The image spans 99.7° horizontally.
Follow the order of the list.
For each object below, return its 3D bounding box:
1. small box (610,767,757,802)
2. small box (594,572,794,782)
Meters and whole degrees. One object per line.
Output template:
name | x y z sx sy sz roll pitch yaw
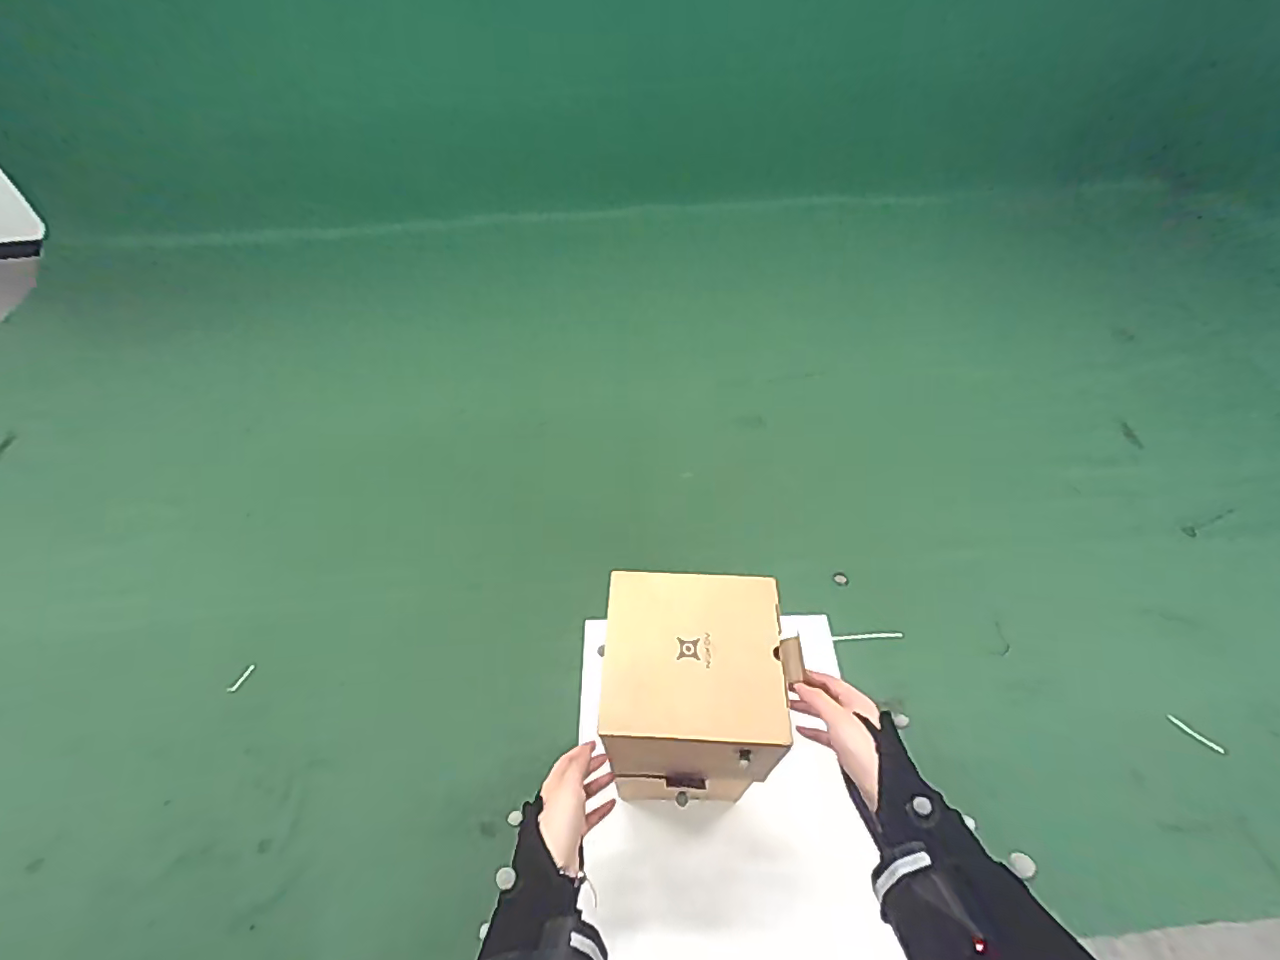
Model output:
small box | 0.052 0.311 0.705 0.168 0.176 0.179 0 52 1
small box | 0.052 0.213 0.576 0.179 0.176 0.168 2 52 2
